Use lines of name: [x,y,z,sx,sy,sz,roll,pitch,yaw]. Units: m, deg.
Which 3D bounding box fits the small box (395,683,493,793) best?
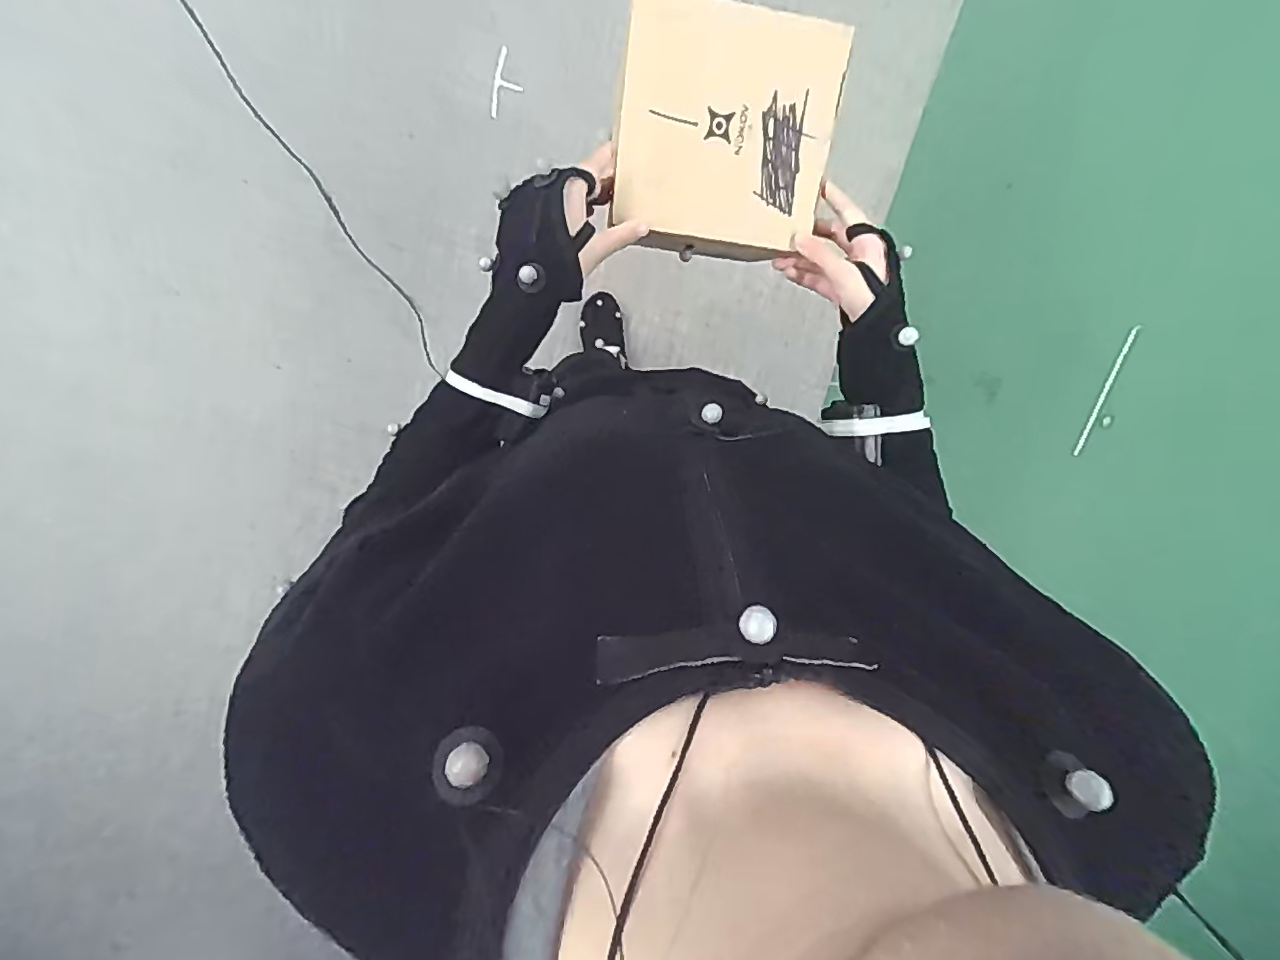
small box: [-0.480,0.634,1.344,0.179,0.176,0.168,14,103,-6]
